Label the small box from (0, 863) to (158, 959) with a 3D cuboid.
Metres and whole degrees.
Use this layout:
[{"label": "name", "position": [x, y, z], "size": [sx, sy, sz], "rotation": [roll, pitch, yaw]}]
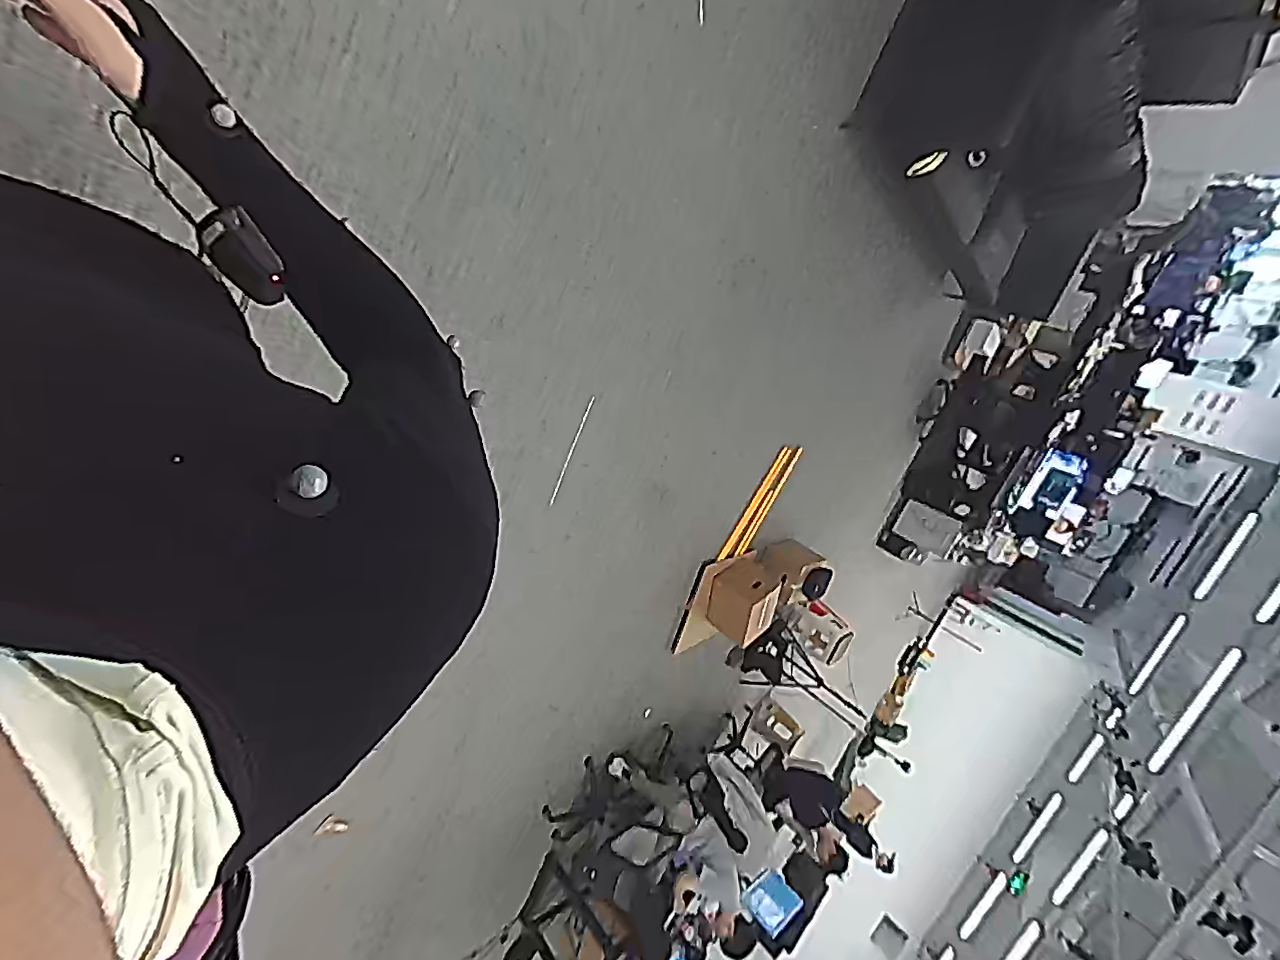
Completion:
[{"label": "small box", "position": [-0.885, 0.761, 0.847], "size": [0.168, 0.176, 0.179], "rotation": [7, 109, -49]}]
